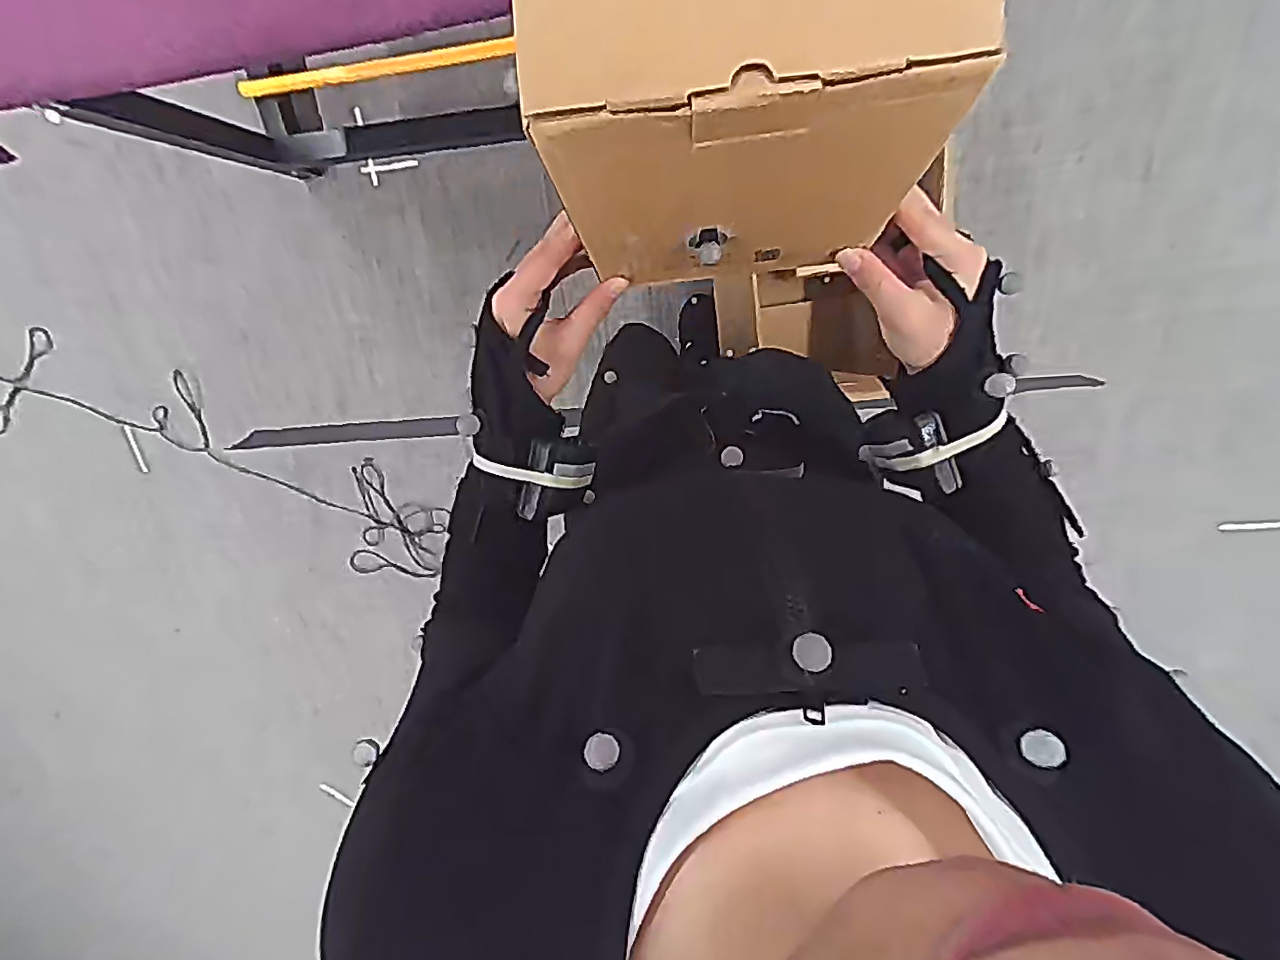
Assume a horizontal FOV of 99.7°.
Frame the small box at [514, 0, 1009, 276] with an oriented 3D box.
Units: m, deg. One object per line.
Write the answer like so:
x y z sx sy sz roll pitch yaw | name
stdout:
0.041 -0.222 0.263 0.168 0.176 0.179 -4 90 7 | small box
